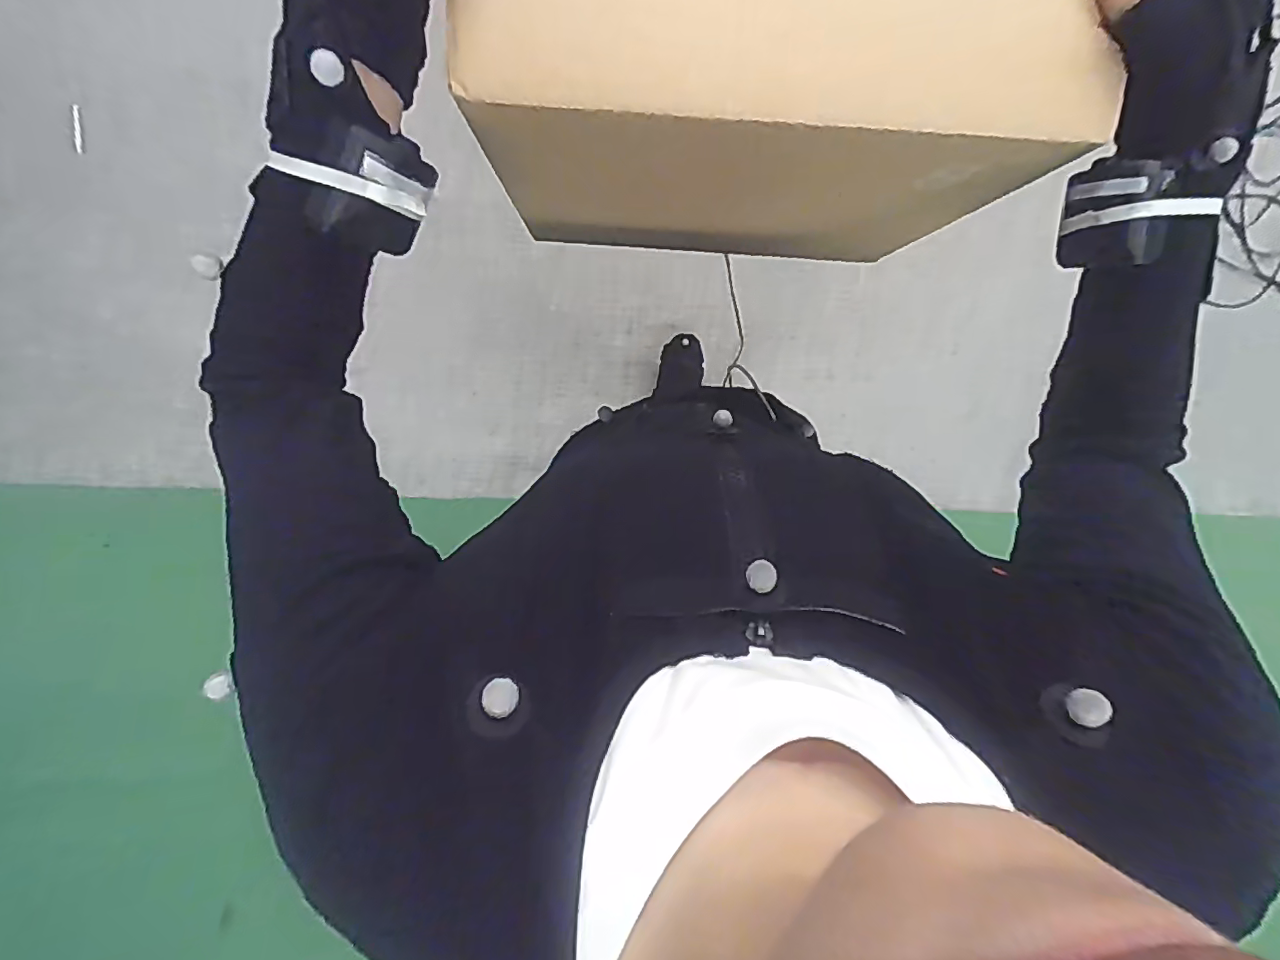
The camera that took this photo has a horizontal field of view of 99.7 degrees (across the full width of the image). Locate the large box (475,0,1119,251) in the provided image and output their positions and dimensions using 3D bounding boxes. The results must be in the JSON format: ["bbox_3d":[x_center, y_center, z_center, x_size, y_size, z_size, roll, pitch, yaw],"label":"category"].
[{"bbox_3d":[0.092,-0.400,0.461,0.408,0.320,0.320,2,100,-4],"label":"large box"}]
